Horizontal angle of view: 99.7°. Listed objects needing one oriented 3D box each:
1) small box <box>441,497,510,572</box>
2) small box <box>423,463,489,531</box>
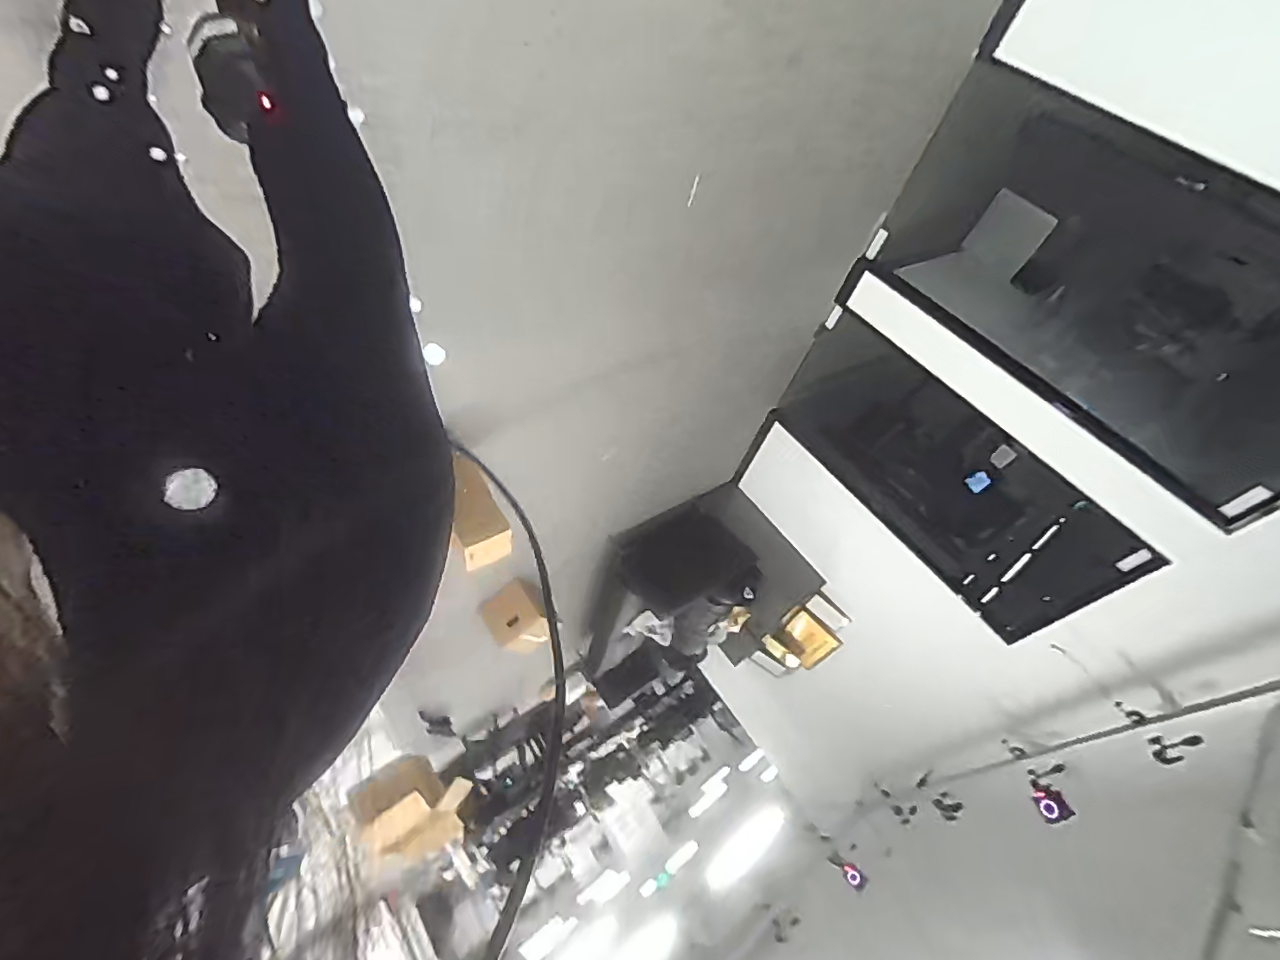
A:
[{"bbox_3d":[-0.580,0.187,1.909,0.179,0.176,0.168,-26,152,-30],"label":"small box"},{"bbox_3d":[-0.669,0.064,1.972,0.179,0.176,0.168,-24,151,-29],"label":"small box"}]
